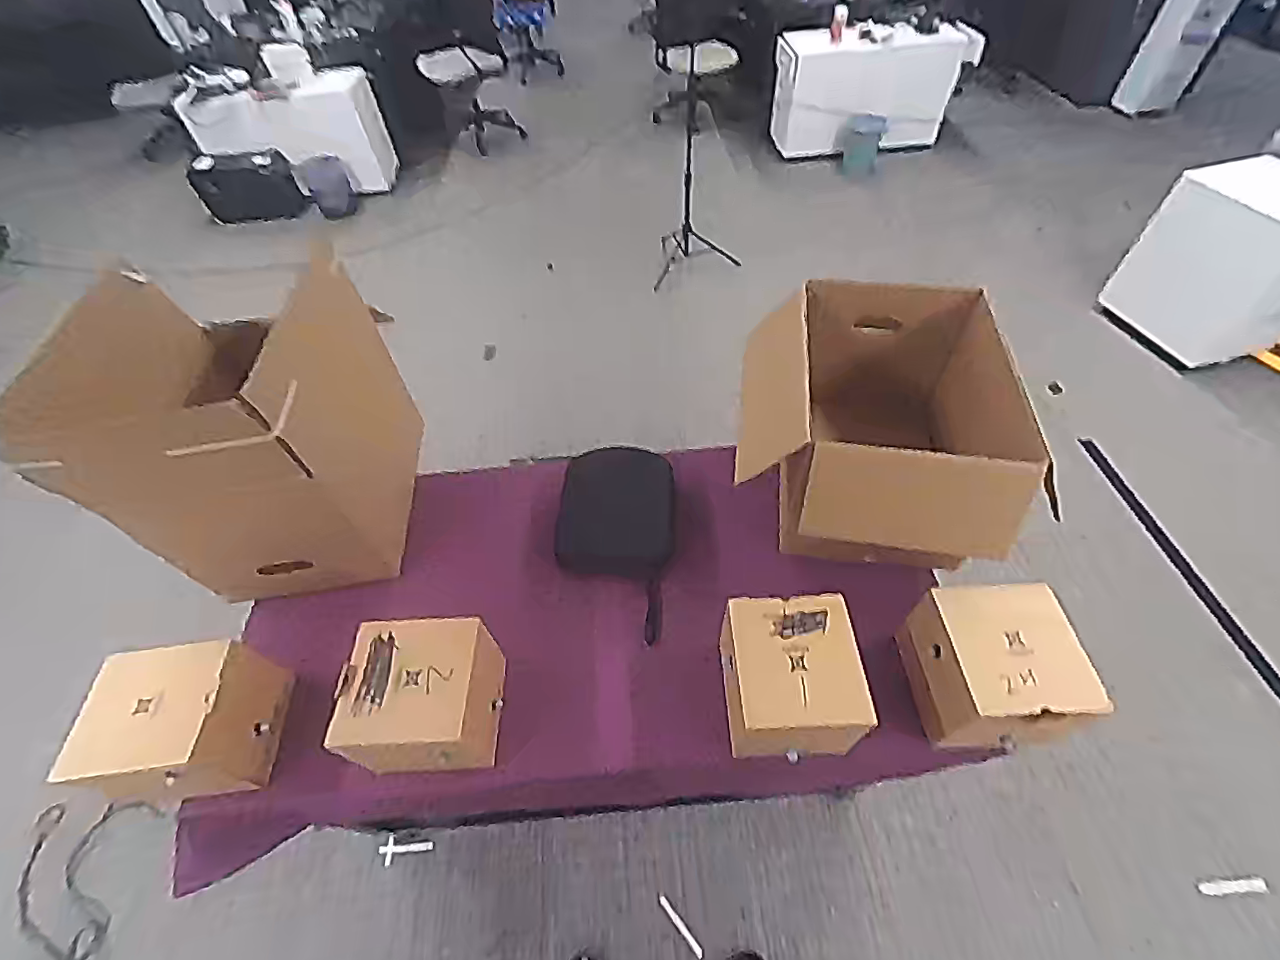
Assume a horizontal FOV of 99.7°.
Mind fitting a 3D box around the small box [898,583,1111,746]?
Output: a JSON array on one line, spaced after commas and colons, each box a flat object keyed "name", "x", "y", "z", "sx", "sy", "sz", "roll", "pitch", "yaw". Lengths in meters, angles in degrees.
[{"name": "small box", "x": 0.494, "y": 0.265, "z": 0.772, "sx": 0.168, "sy": 0.176, "sz": 0.179, "roll": -3, "pitch": 52, "yaw": 3}]

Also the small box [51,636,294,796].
[{"name": "small box", "x": -0.652, "y": 0.346, "z": 0.785, "sx": 0.179, "sy": 0.176, "sz": 0.168, "roll": -7, "pitch": 52, "yaw": -3}]

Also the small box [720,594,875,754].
[{"name": "small box", "x": 0.210, "y": 0.281, "z": 0.780, "sx": 0.168, "sy": 0.176, "sz": 0.179, "roll": -3, "pitch": 53, "yaw": 2}]
